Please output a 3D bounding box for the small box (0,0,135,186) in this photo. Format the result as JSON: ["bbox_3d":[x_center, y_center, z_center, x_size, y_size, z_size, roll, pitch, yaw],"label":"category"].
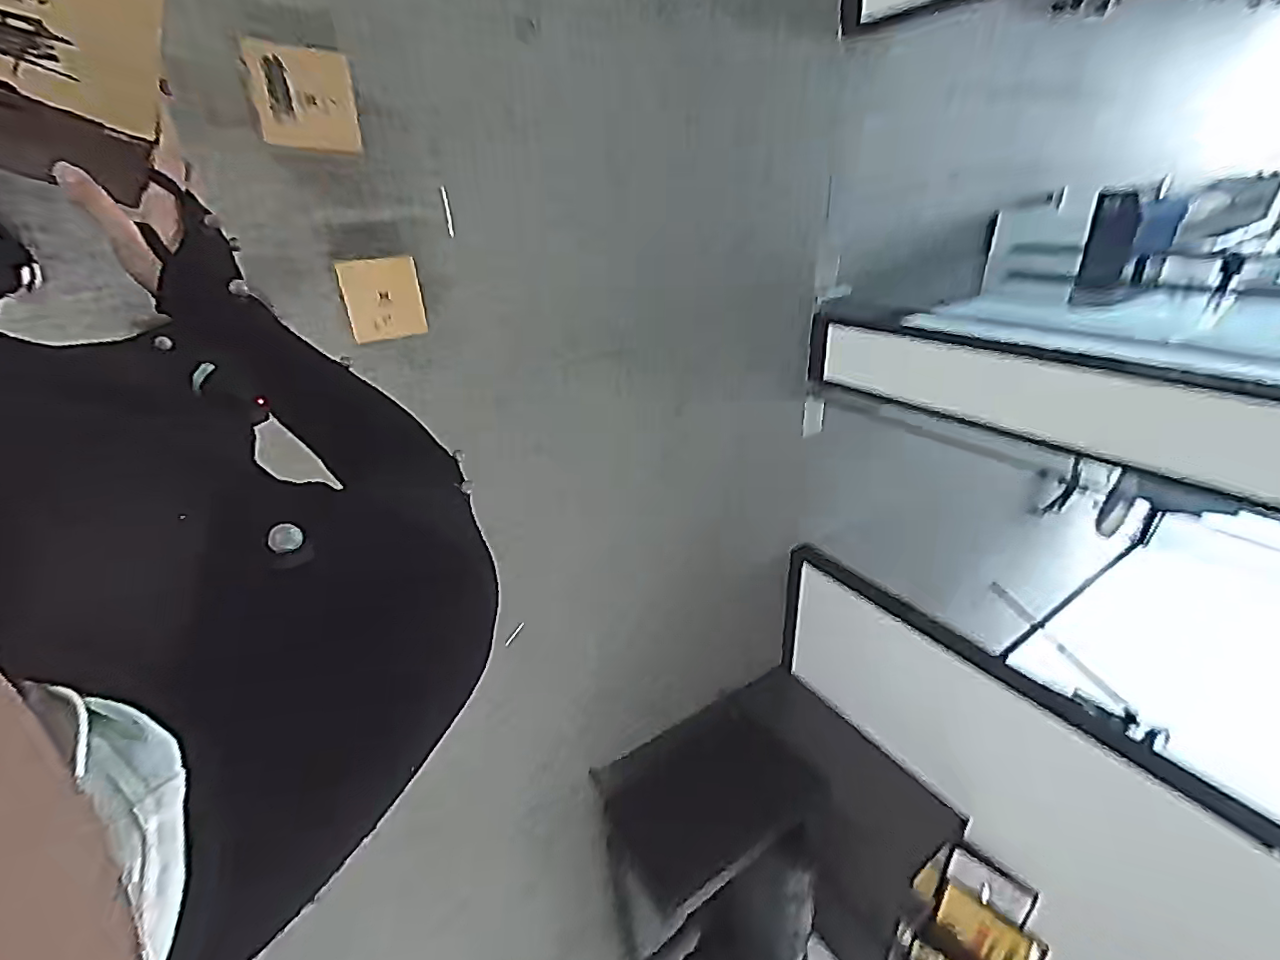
[{"bbox_3d":[-0.519,-0.372,0.431,0.168,0.176,0.179,1,90,-46],"label":"small box"}]

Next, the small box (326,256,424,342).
[{"bbox_3d":[-0.640,-0.442,1.303,0.168,0.176,0.179,-18,121,-28],"label":"small box"}]
